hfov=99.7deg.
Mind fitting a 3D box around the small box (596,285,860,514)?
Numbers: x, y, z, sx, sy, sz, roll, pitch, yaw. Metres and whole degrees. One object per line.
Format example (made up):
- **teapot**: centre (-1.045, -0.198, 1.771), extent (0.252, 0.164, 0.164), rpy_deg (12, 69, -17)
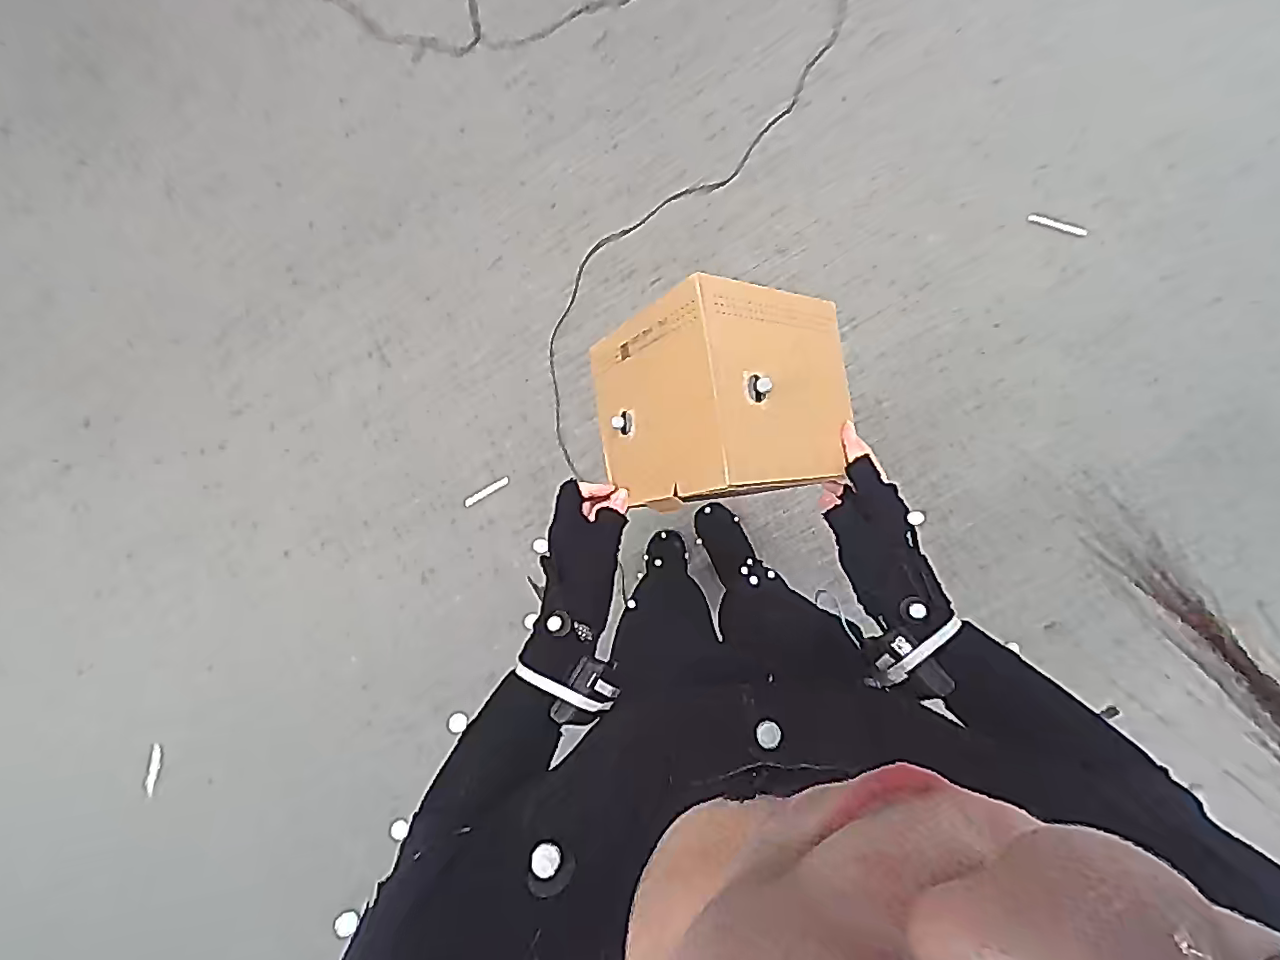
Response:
- **small box**: centre (0.075, -0.066, 0.509), extent (0.179, 0.168, 0.176), rpy_deg (-6, 86, -37)
